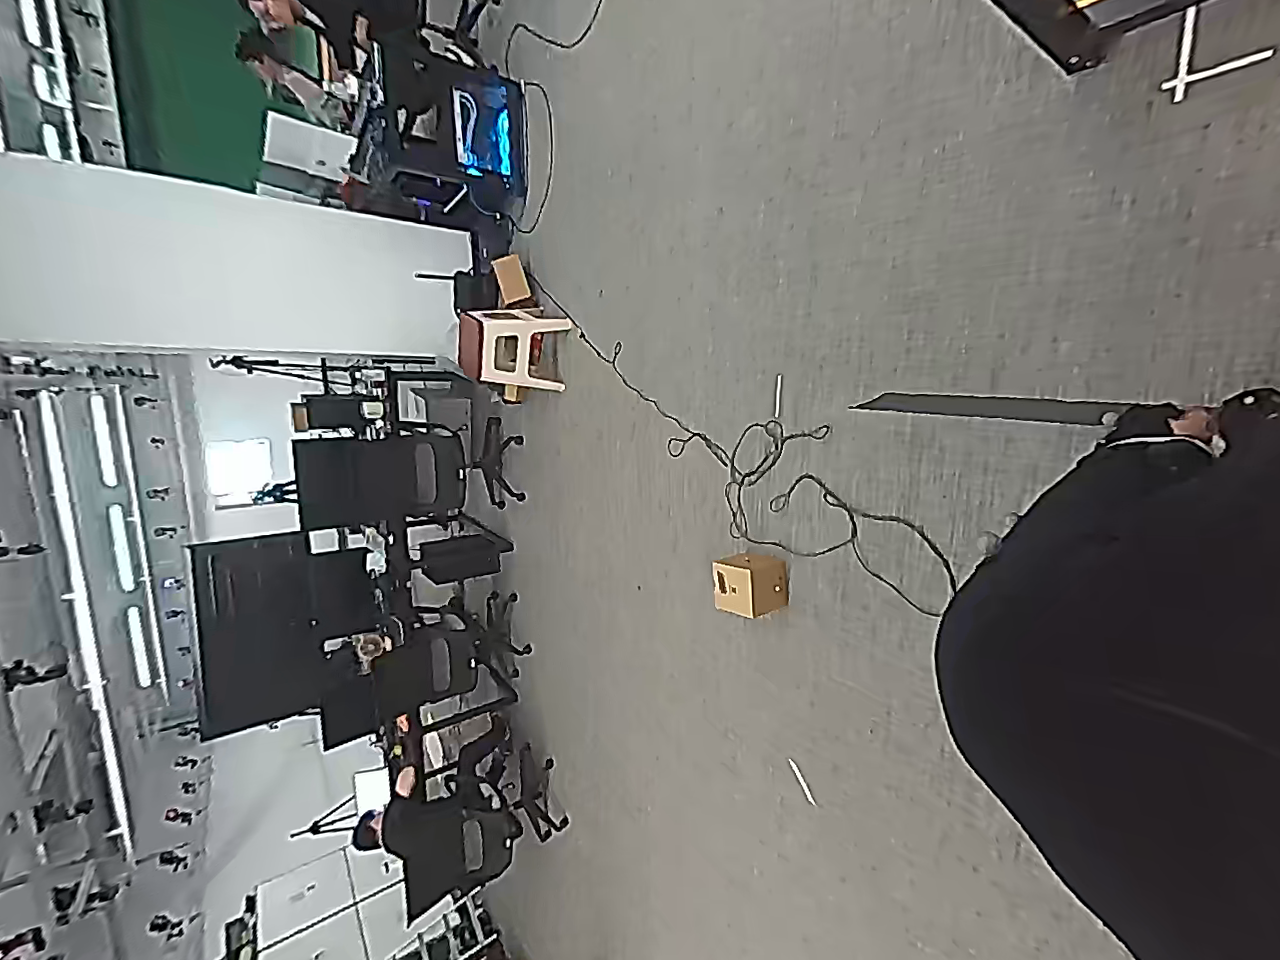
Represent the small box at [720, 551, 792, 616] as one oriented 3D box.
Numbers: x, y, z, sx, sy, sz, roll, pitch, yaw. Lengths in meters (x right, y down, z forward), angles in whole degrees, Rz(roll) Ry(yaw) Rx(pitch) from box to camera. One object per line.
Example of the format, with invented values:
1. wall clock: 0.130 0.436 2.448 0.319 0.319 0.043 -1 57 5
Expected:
1. small box: 0.395 0.346 1.847 0.179 0.176 0.168 4 100 54
